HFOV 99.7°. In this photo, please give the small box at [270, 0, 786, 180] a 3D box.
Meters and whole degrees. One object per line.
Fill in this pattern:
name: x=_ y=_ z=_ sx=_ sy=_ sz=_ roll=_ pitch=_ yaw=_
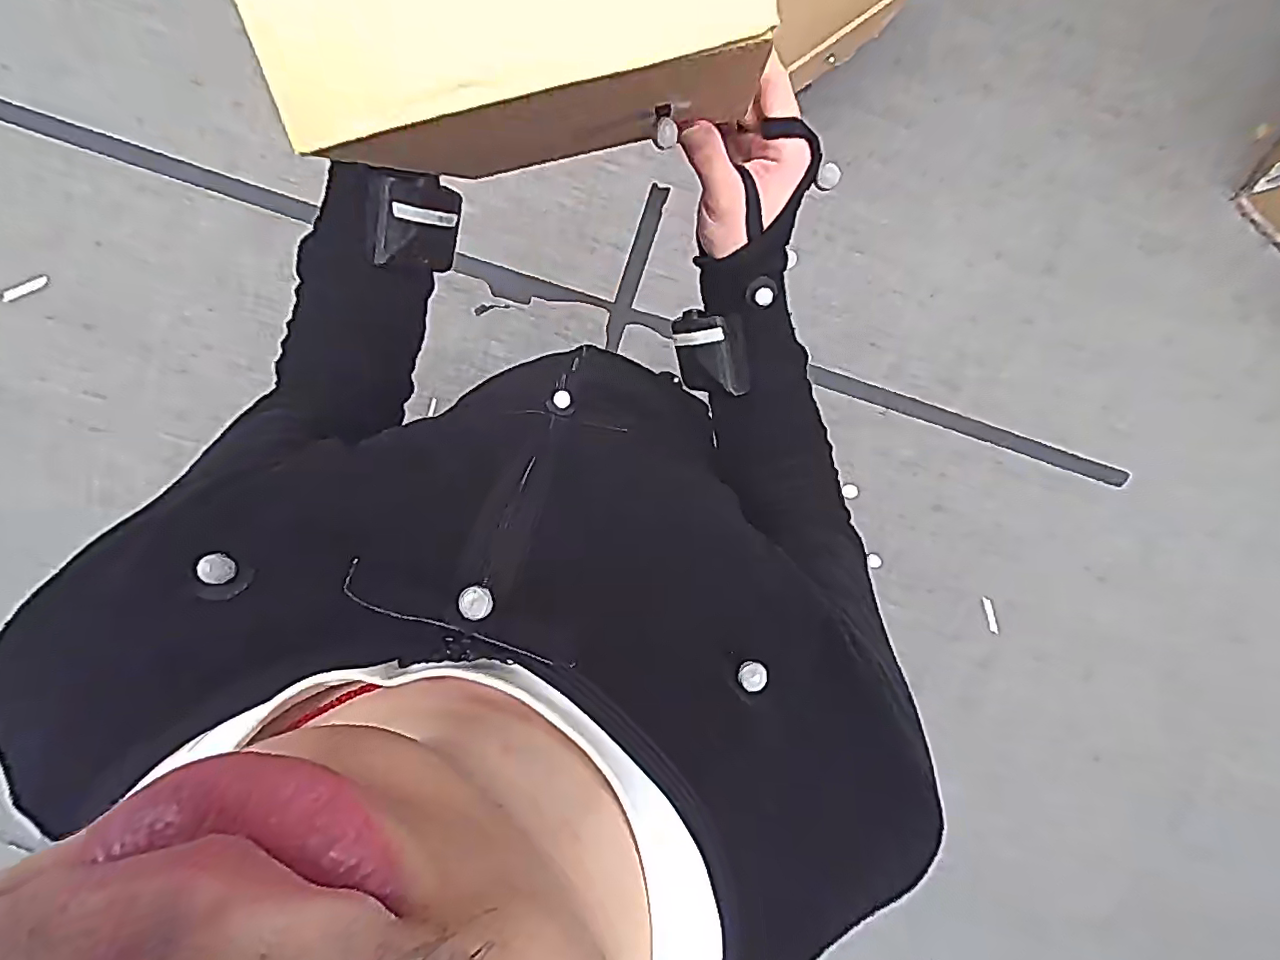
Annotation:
small box: x=-0.042 y=-0.240 z=0.233 sx=0.179 sy=0.176 sz=0.168 roll=-7 pitch=114 yaw=10
